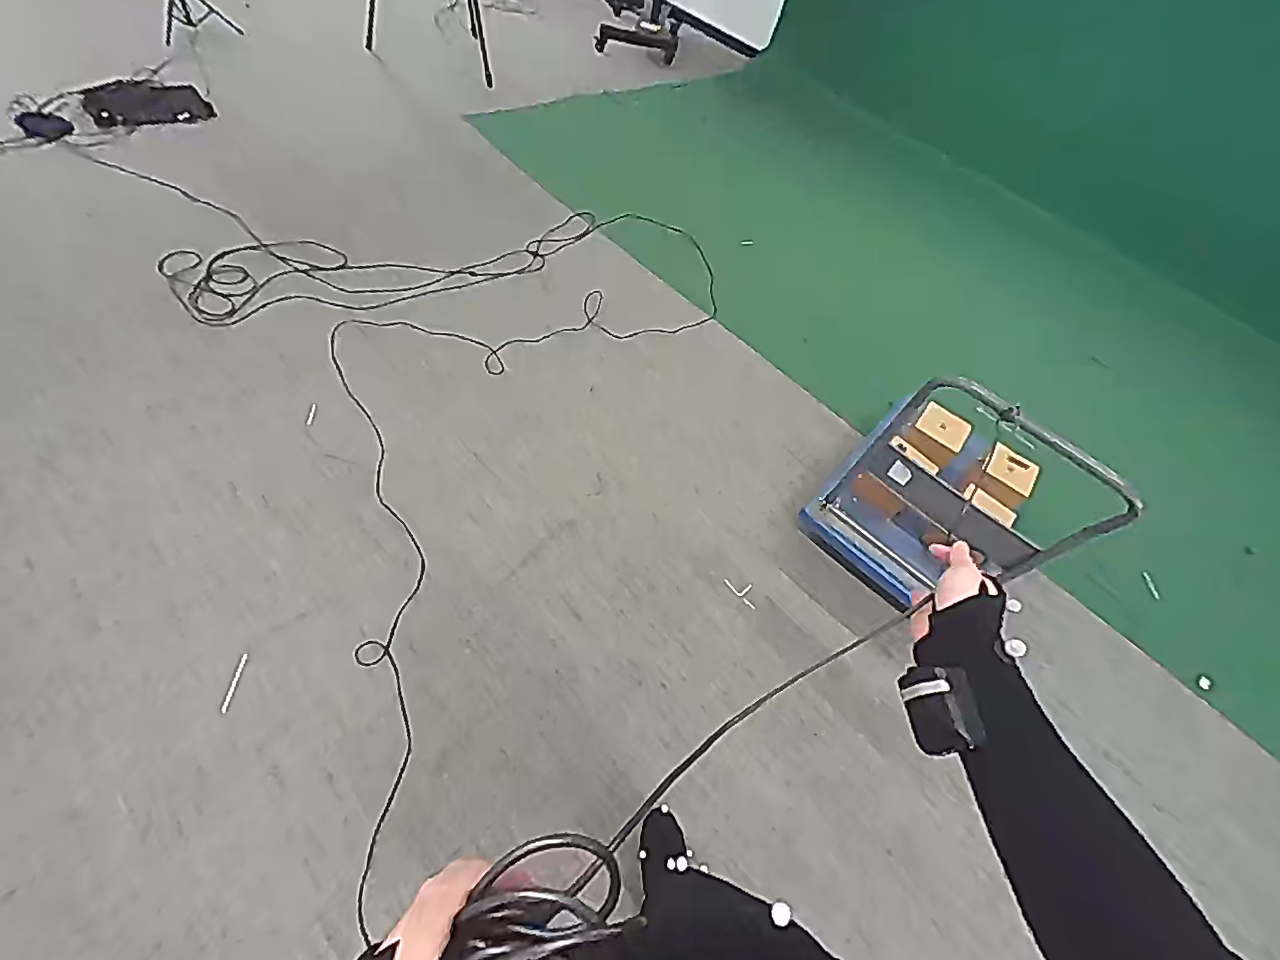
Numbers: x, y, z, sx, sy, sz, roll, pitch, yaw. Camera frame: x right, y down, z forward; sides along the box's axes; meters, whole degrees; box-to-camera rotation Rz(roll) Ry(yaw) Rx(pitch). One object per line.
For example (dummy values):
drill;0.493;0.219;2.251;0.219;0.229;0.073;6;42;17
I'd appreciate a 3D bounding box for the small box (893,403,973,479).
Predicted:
small box;1.051;-0.137;1.952;0.168;0.176;0.179;39;57;14

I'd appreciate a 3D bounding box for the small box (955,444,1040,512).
small box;1.244;0.013;1.890;0.168;0.176;0.179;38;57;15

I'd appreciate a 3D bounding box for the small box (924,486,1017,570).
small box;1.062;0.156;1.751;0.168;0.176;0.179;43;59;17
